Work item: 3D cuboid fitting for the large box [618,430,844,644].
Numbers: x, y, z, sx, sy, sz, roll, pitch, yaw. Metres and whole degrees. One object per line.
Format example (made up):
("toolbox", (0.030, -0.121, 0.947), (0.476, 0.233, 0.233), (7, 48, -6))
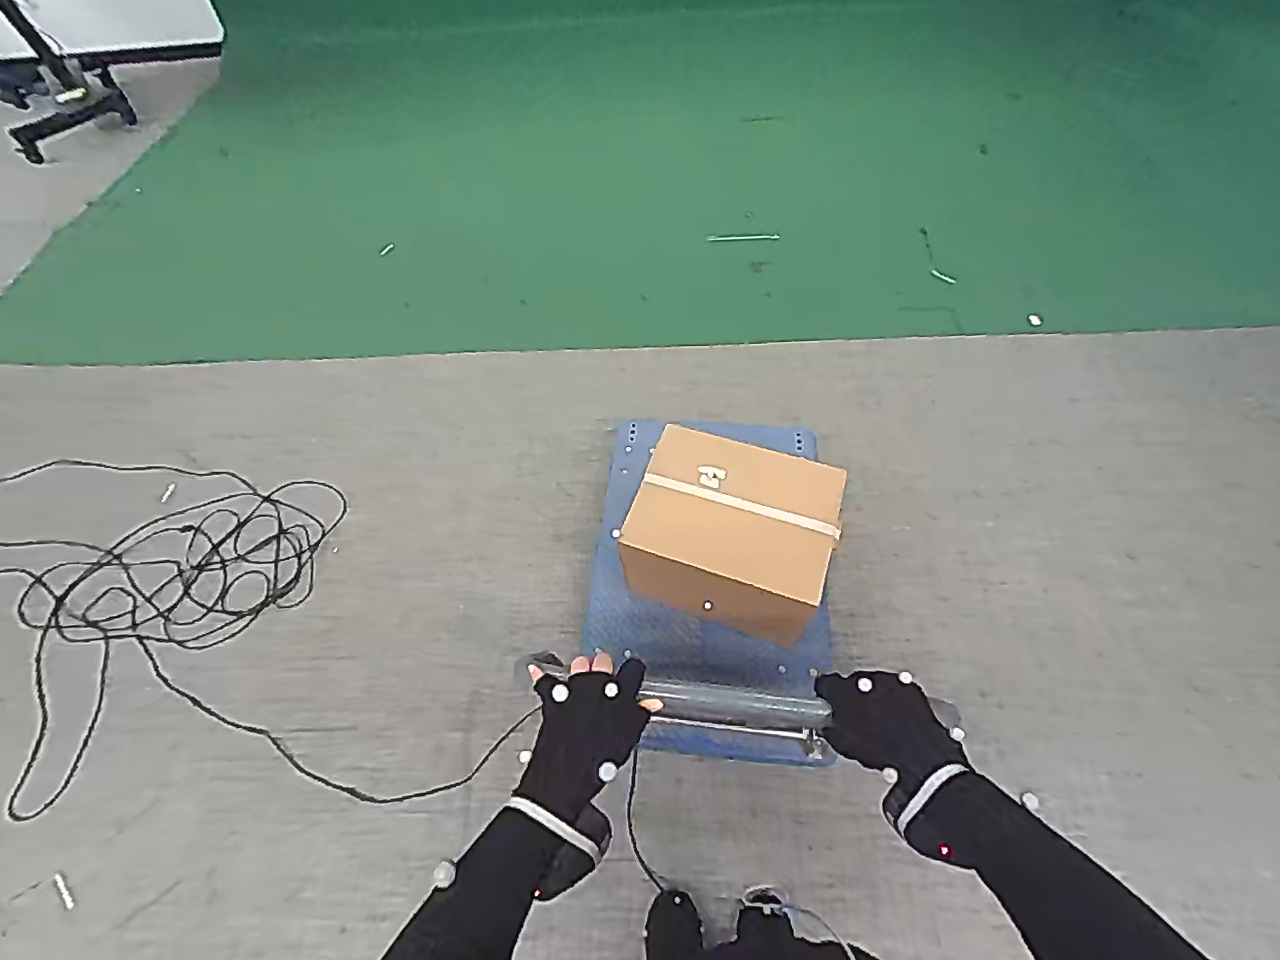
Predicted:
("large box", (0.205, 0.135, 1.234), (0.408, 0.320, 0.320), (17, 61, 14))
